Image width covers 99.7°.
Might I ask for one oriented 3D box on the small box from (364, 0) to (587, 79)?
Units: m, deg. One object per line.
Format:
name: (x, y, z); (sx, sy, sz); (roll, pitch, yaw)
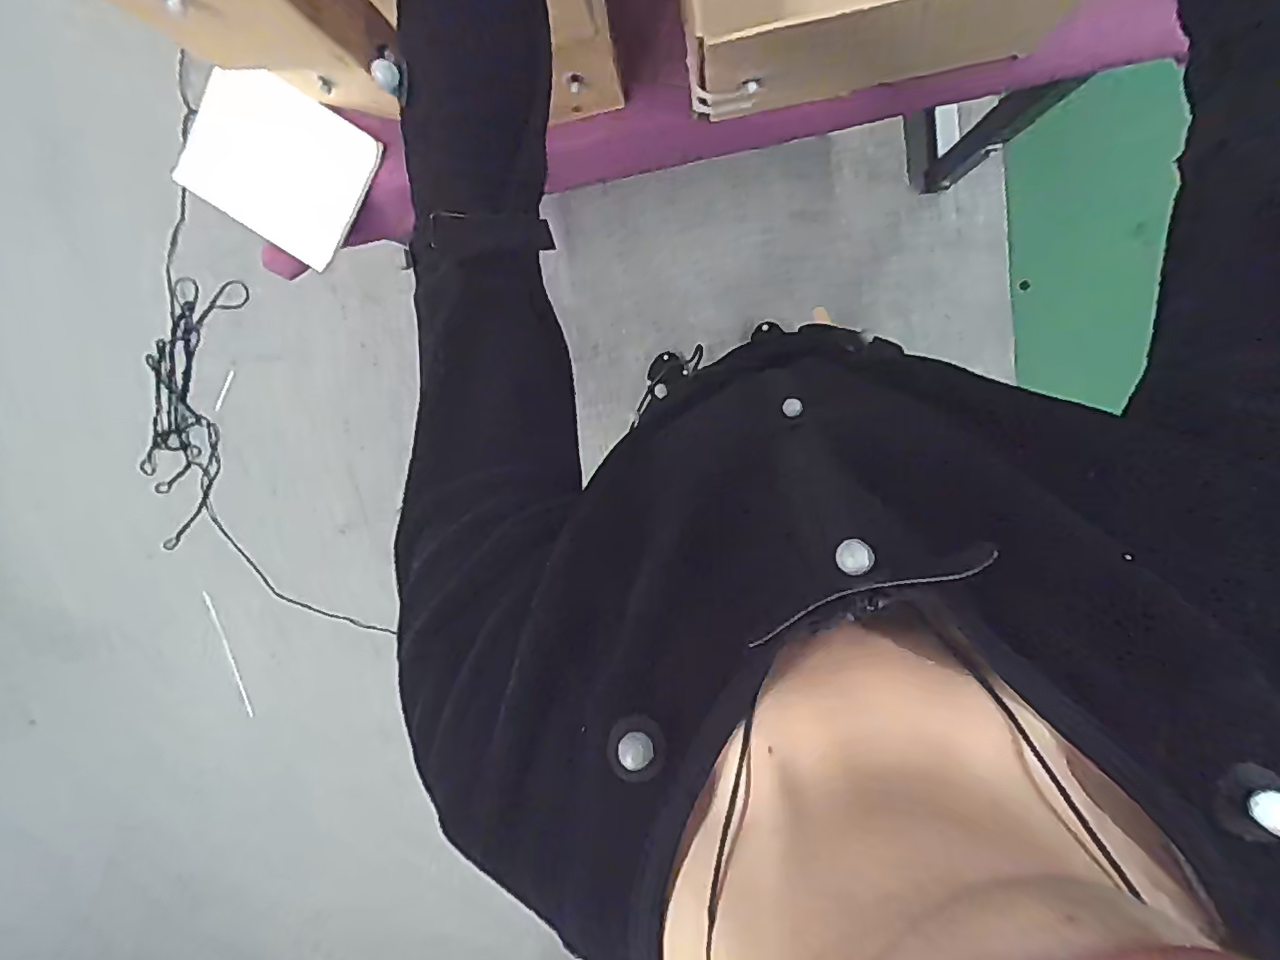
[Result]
small box: (-0.149, -0.490, 0.460); (0.179, 0.176, 0.168); (-8, 98, 8)
